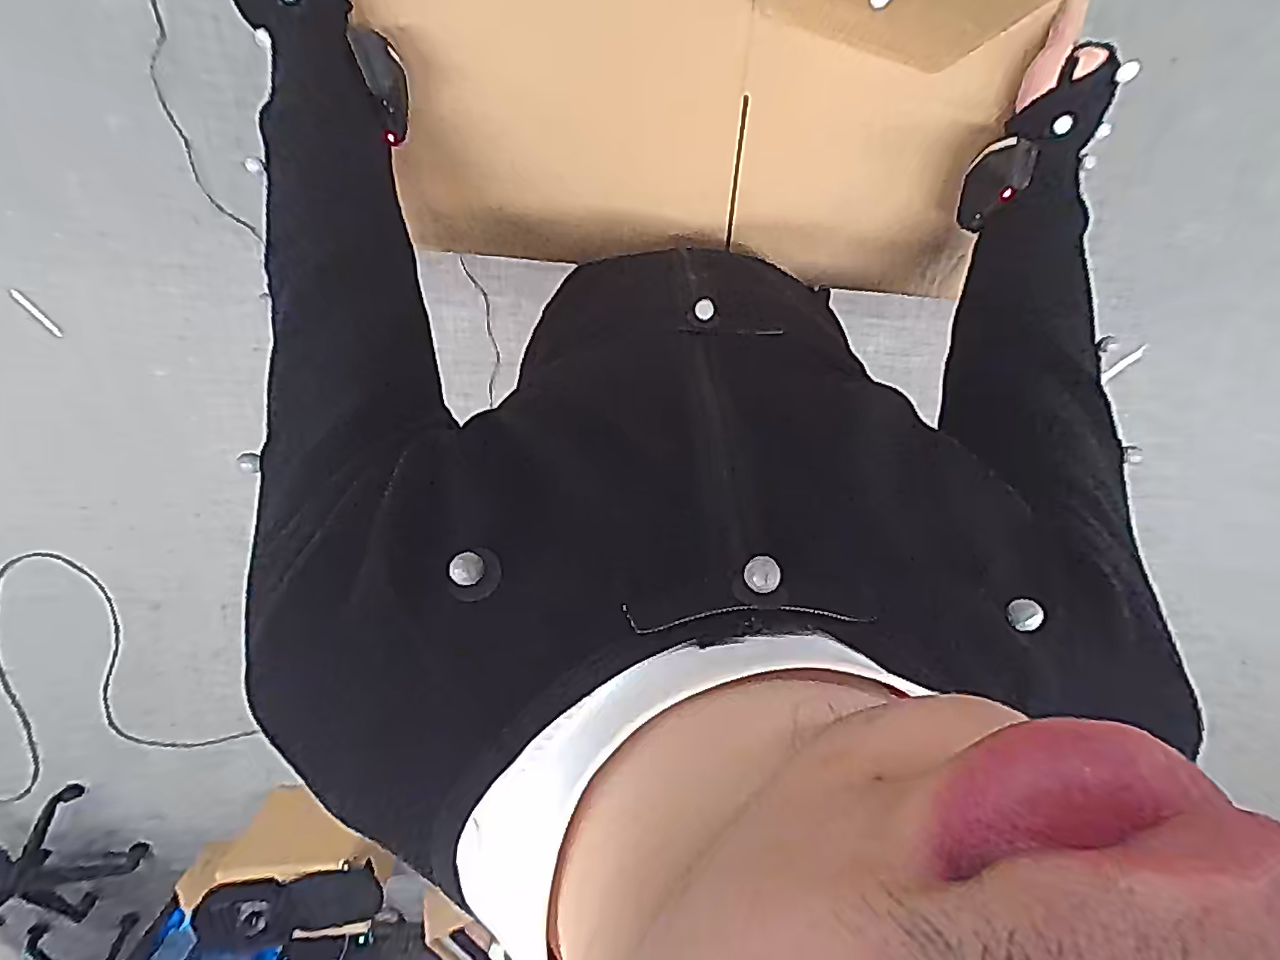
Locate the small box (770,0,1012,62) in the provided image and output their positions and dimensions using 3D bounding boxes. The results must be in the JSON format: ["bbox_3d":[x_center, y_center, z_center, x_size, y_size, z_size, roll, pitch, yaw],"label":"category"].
[{"bbox_3d":[0.212,-0.444,0.390,0.179,0.176,0.168,13,109,-6],"label":"small box"}]
